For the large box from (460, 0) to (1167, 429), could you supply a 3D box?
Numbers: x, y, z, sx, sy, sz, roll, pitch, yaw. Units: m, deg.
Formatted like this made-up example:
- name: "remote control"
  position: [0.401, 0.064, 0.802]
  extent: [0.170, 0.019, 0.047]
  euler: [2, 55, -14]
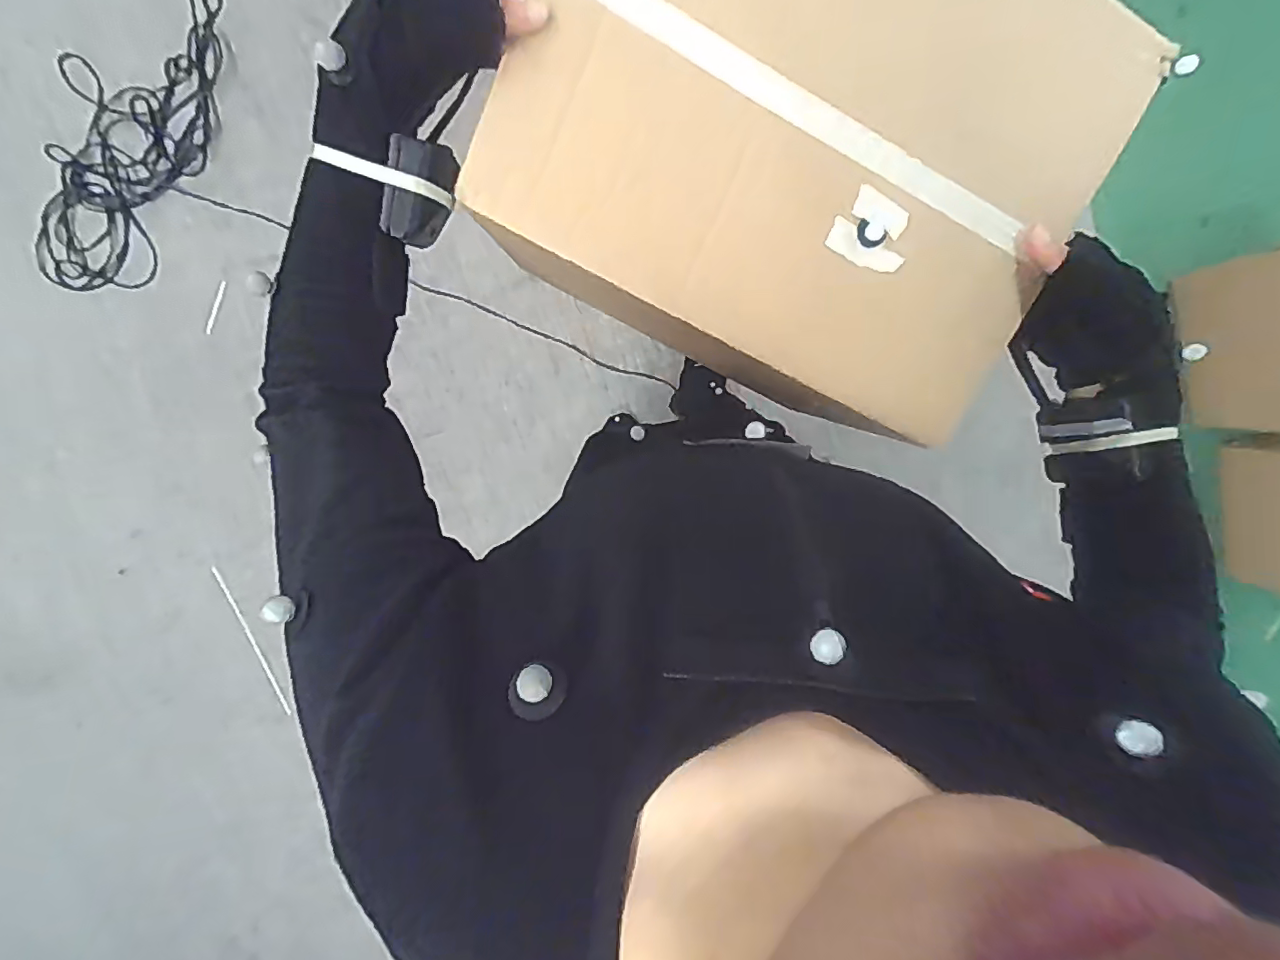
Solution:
- name: "large box"
  position: [0.106, -0.284, 0.506]
  extent: [0.408, 0.320, 0.320]
  euler: [24, 102, -10]
